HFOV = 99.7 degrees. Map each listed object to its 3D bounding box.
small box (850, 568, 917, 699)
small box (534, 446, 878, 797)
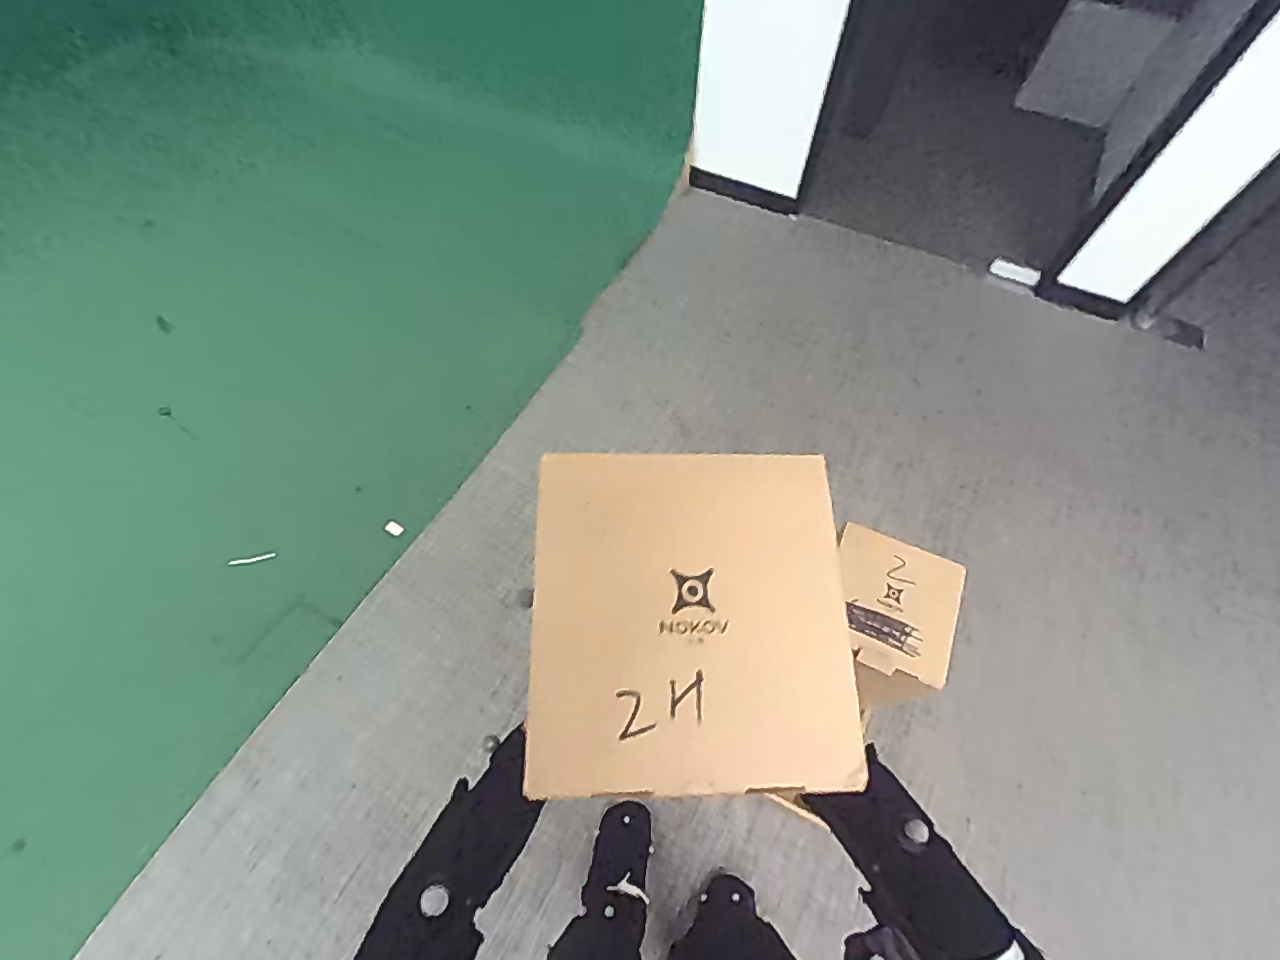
[{"bbox_3d":[0.338,0.264,0.927,0.168,0.176,0.179,25,64,13],"label":"small box"},{"bbox_3d":[0.026,0.090,0.354,0.168,0.176,0.179,0,72,-4],"label":"small box"}]
